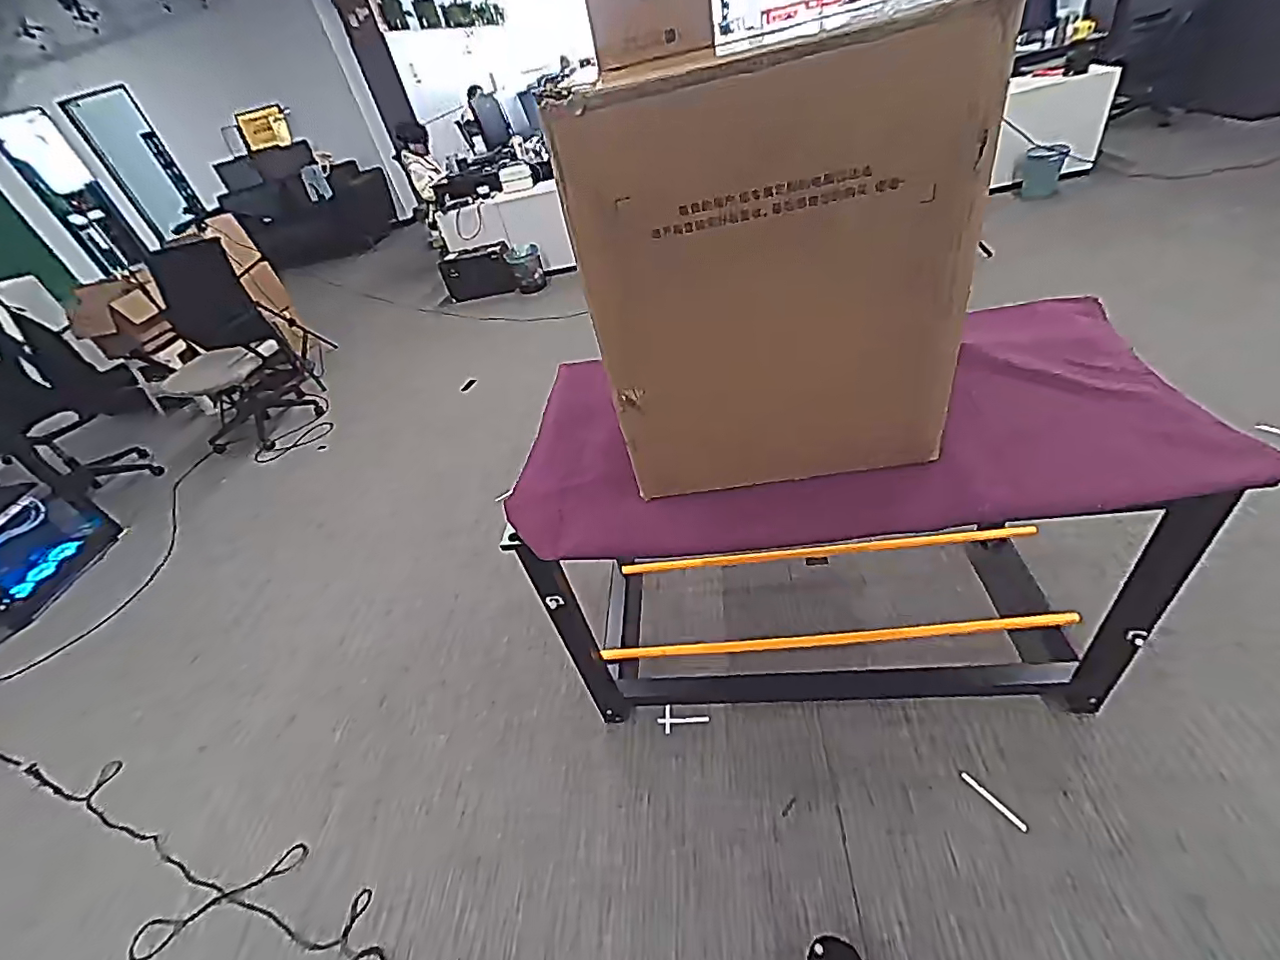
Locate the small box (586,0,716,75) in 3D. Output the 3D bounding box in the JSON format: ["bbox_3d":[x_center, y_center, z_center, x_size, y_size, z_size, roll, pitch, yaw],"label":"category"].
[{"bbox_3d":[0.007,-0.683,0.751,0.168,0.176,0.179,-10,40,3],"label":"small box"}]
